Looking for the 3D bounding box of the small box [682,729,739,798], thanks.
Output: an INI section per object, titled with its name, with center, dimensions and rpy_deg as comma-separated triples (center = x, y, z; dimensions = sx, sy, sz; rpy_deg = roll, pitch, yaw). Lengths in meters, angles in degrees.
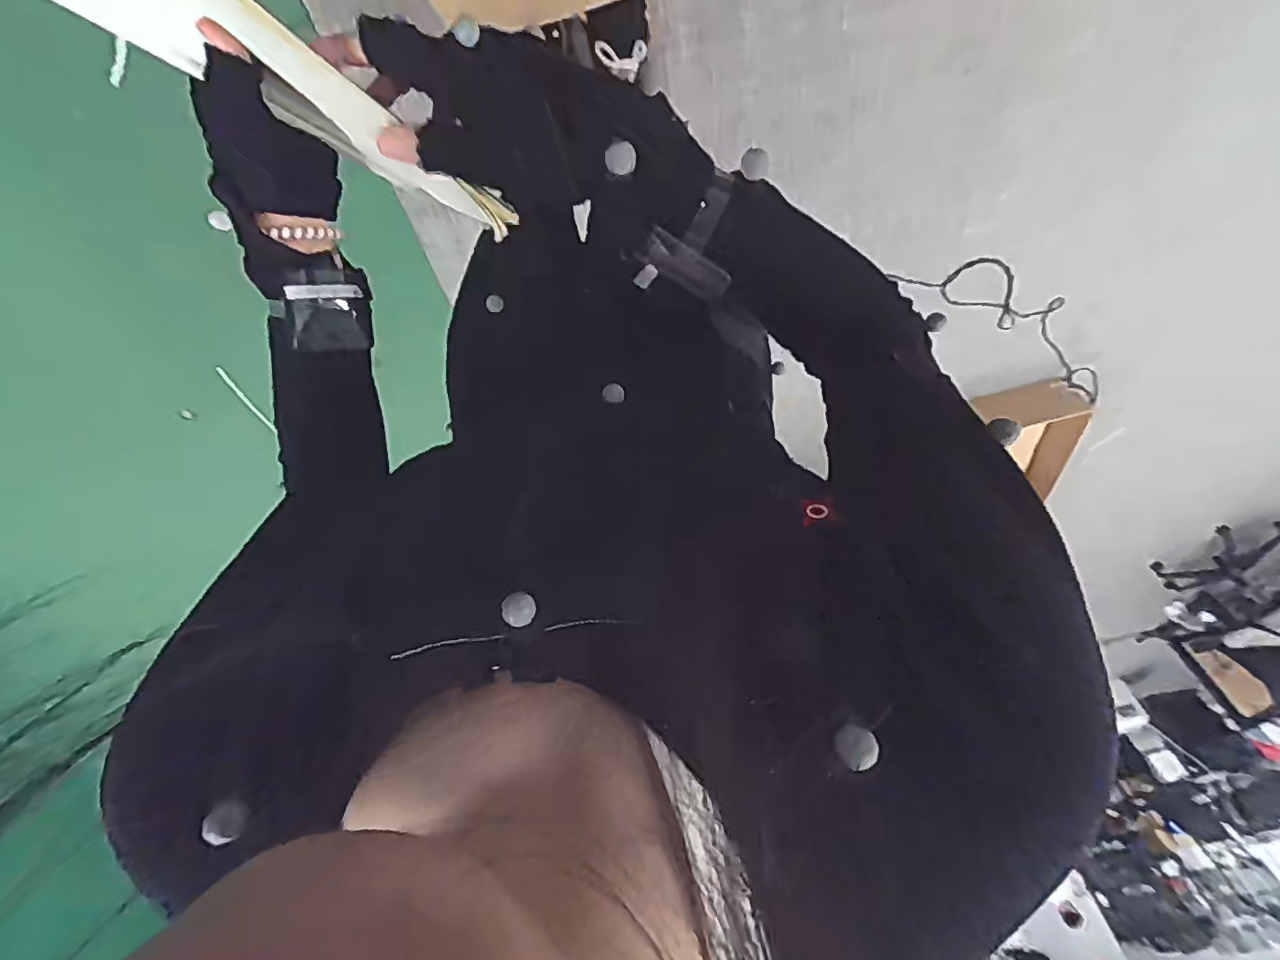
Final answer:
[small box]
center = 0.248, 1.005, 1.919
dimensions = 0.168, 0.176, 0.179
rpy_deg = -11, 138, 0
